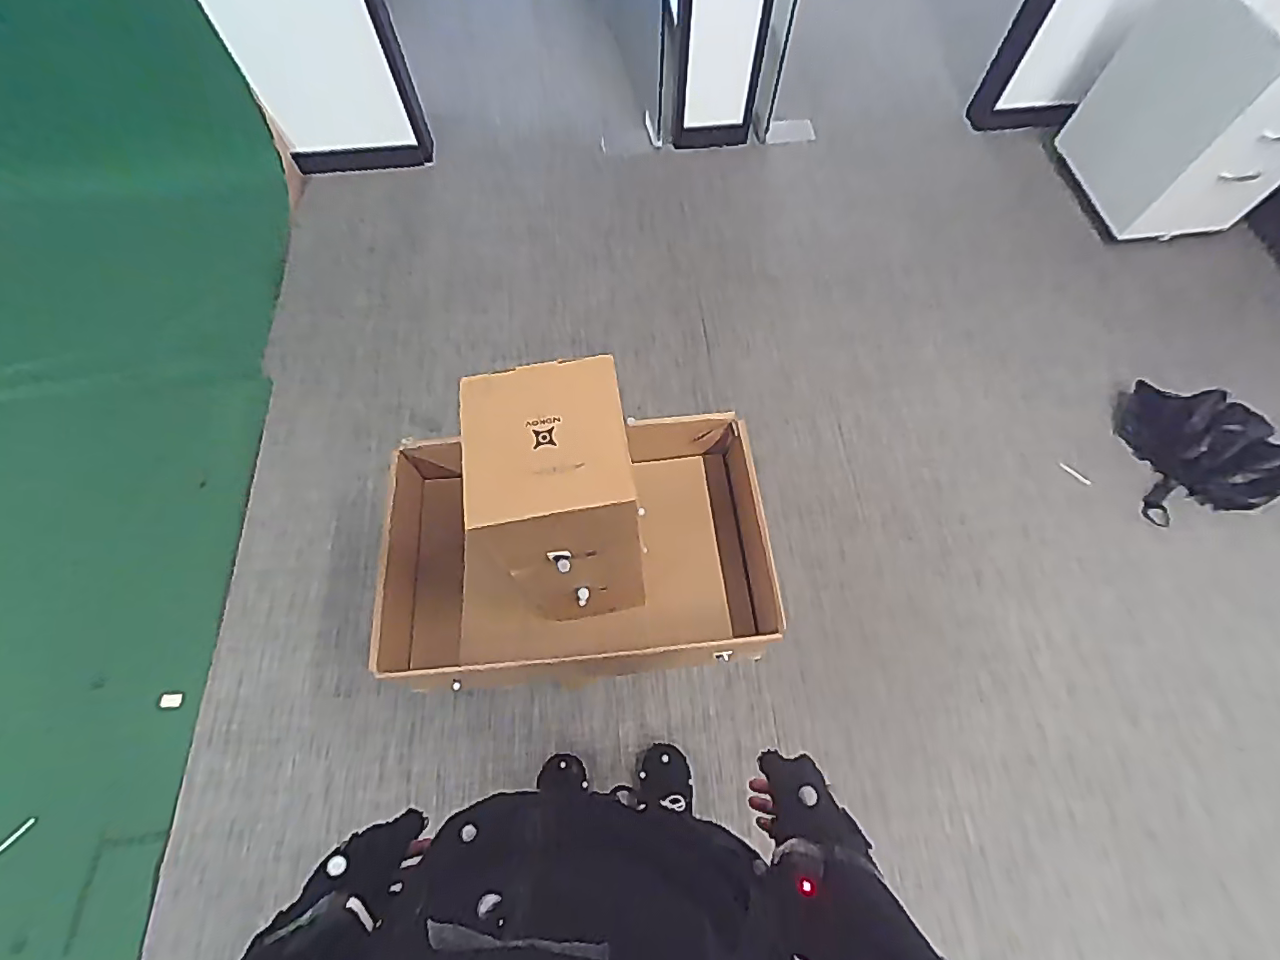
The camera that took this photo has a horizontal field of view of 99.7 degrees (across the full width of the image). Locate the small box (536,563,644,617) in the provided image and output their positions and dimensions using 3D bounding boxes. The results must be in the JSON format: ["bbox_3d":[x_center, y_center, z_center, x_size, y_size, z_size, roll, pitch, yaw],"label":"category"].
[{"bbox_3d":[-0.088,0.118,0.919,0.168,0.176,0.179,-11,64,-2],"label":"small box"}]

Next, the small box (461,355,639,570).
[{"bbox_3d":[-0.096,-0.013,0.621,0.168,0.176,0.179,-10,66,-2],"label":"small box"}]

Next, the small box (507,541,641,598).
[{"bbox_3d":[-0.093,0.054,0.768,0.168,0.176,0.179,-9,66,-3],"label":"small box"}]
